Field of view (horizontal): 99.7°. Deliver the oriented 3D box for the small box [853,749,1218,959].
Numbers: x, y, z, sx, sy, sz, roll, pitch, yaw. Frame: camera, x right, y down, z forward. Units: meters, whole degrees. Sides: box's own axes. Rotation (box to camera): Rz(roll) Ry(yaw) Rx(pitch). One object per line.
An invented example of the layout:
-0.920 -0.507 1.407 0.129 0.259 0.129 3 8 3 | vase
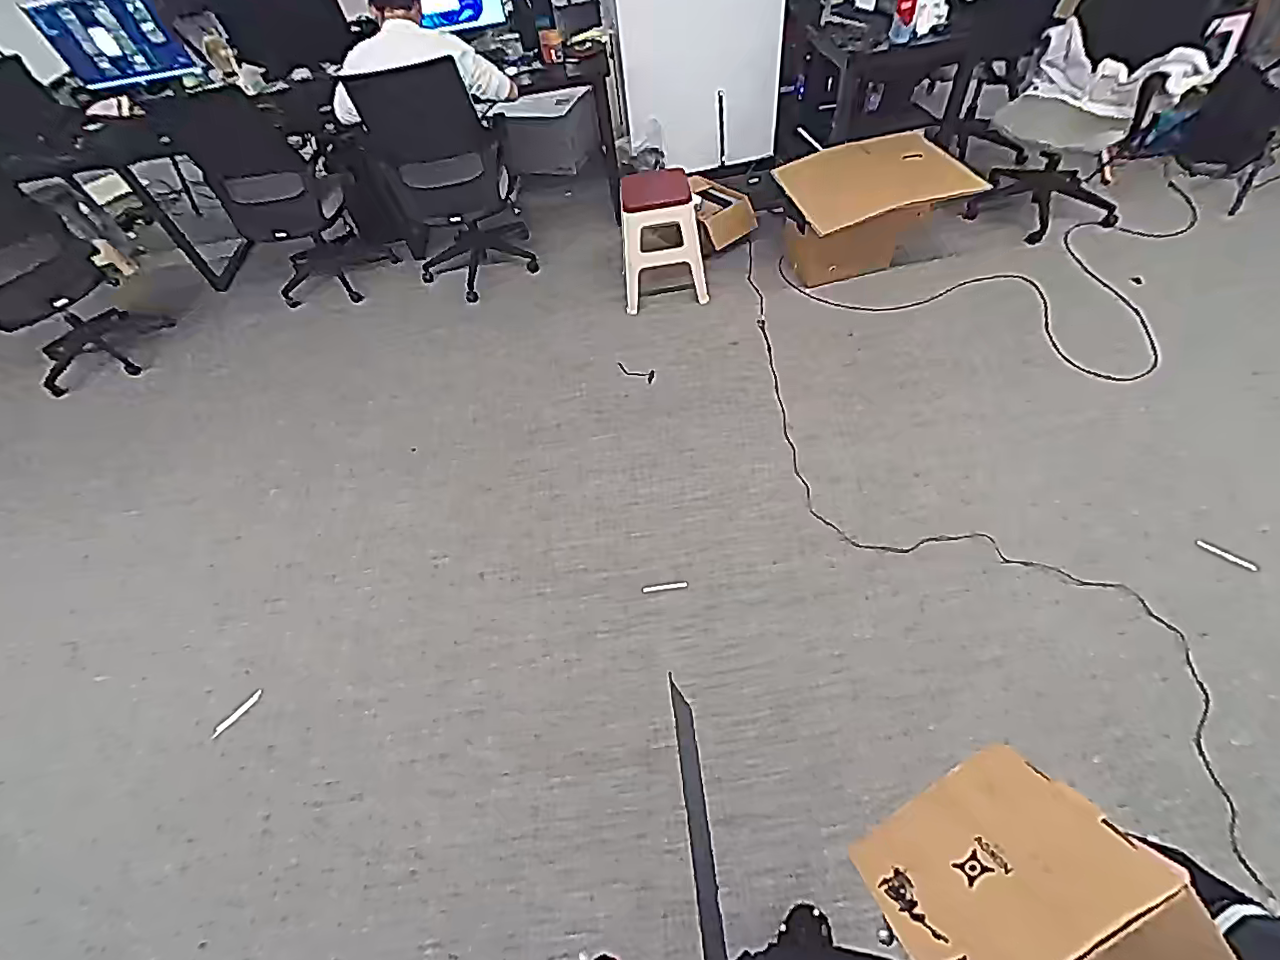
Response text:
0.318 0.371 0.434 0.179 0.168 0.176 -34 94 -1 | small box
